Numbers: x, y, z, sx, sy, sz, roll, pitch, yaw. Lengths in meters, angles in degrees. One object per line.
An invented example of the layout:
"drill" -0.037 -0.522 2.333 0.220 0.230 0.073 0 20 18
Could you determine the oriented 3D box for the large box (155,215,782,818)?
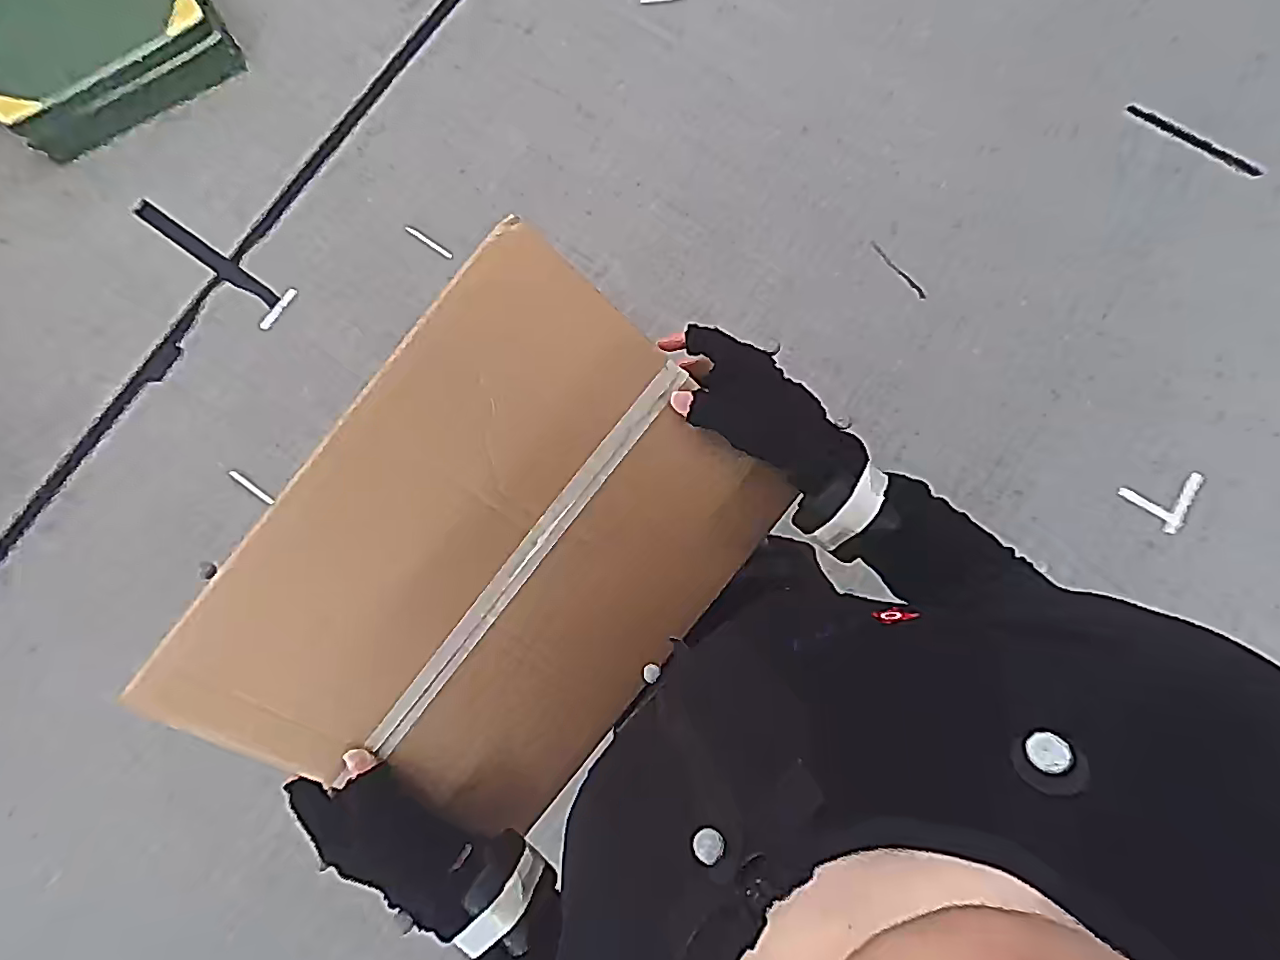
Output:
"large box" -0.147 0.027 0.560 0.320 0.320 0.408 38 90 -23
